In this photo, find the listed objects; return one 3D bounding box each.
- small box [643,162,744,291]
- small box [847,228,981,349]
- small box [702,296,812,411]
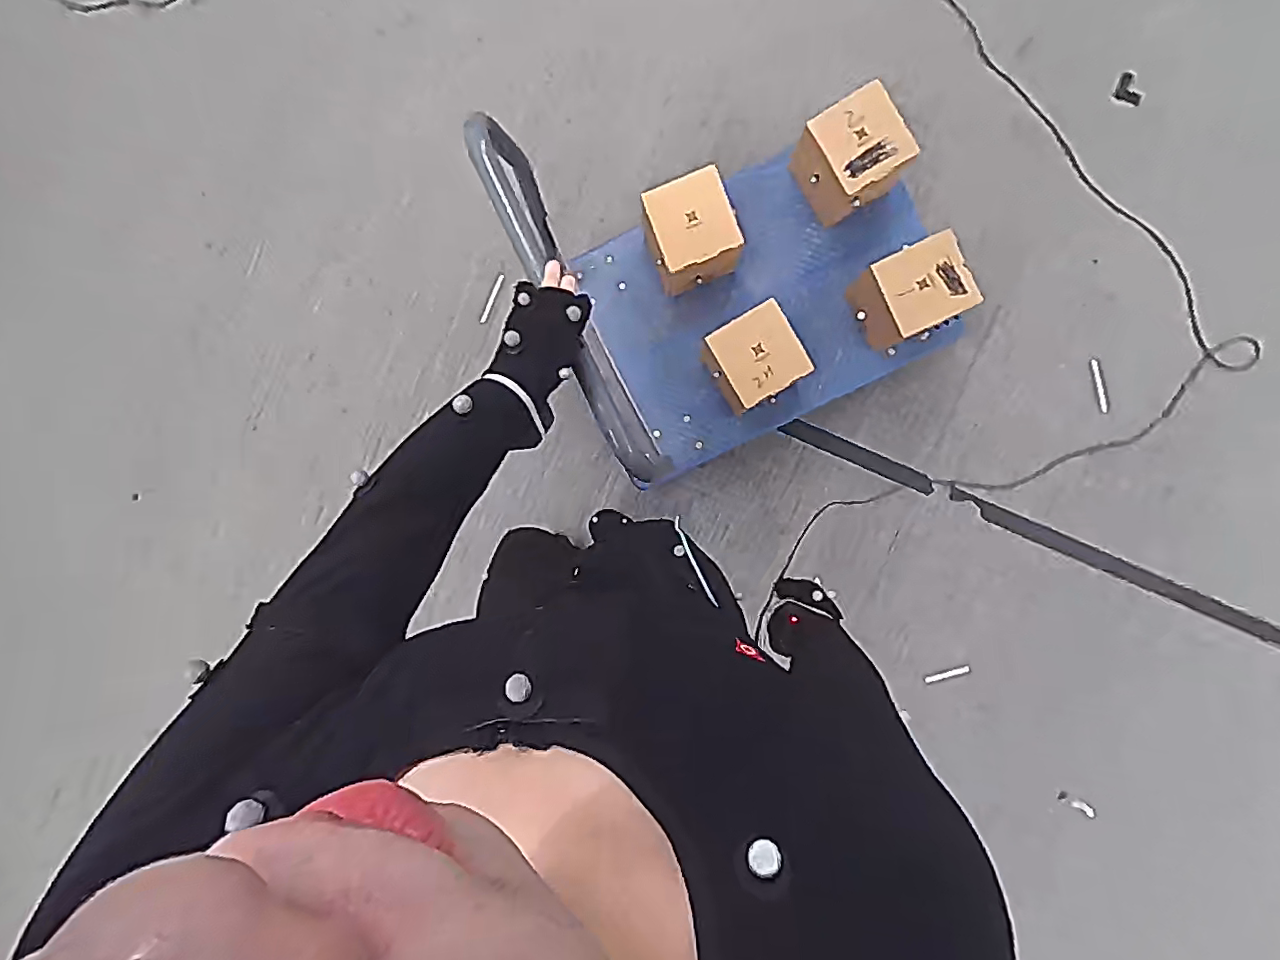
[{"bbox_3d":[0.111,-0.547,1.190,0.168,0.176,0.179,-21,93,3],"label":"small box"},{"bbox_3d":[0.583,-0.405,1.173,0.179,0.176,0.168,-25,91,5],"label":"small box"},{"bbox_3d":[0.248,-0.270,1.196,0.168,0.176,0.179,-30,91,4],"label":"small box"}]
